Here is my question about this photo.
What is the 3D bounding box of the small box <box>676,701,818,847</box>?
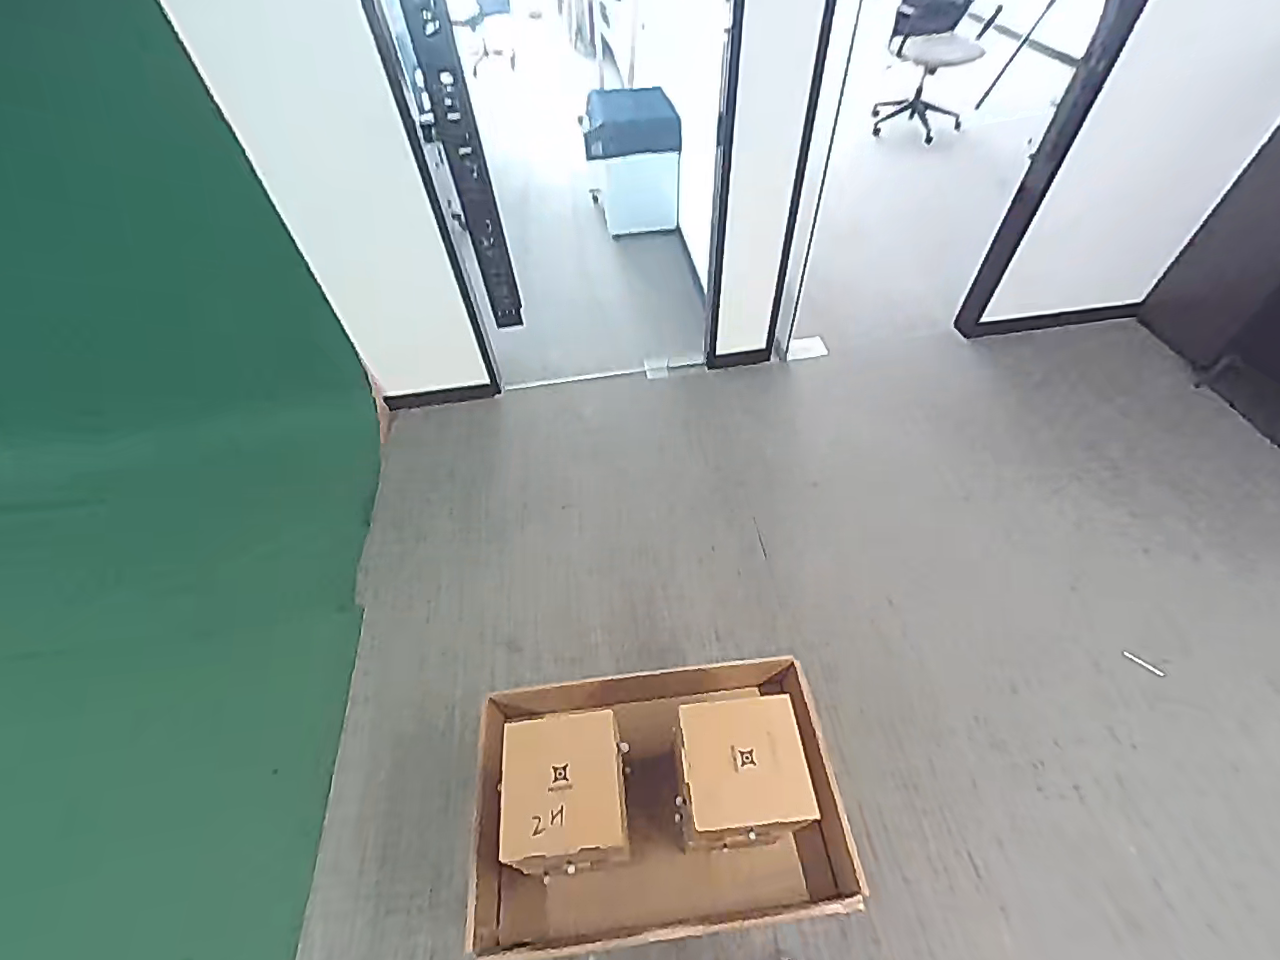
[{"bbox_3d":[0.149,0.454,0.830,0.179,0.176,0.168,-4,52,-3],"label":"small box"}]

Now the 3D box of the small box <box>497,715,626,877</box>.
[{"bbox_3d":[-0.111,0.477,0.815,0.168,0.176,0.179,-6,51,-3],"label":"small box"}]
